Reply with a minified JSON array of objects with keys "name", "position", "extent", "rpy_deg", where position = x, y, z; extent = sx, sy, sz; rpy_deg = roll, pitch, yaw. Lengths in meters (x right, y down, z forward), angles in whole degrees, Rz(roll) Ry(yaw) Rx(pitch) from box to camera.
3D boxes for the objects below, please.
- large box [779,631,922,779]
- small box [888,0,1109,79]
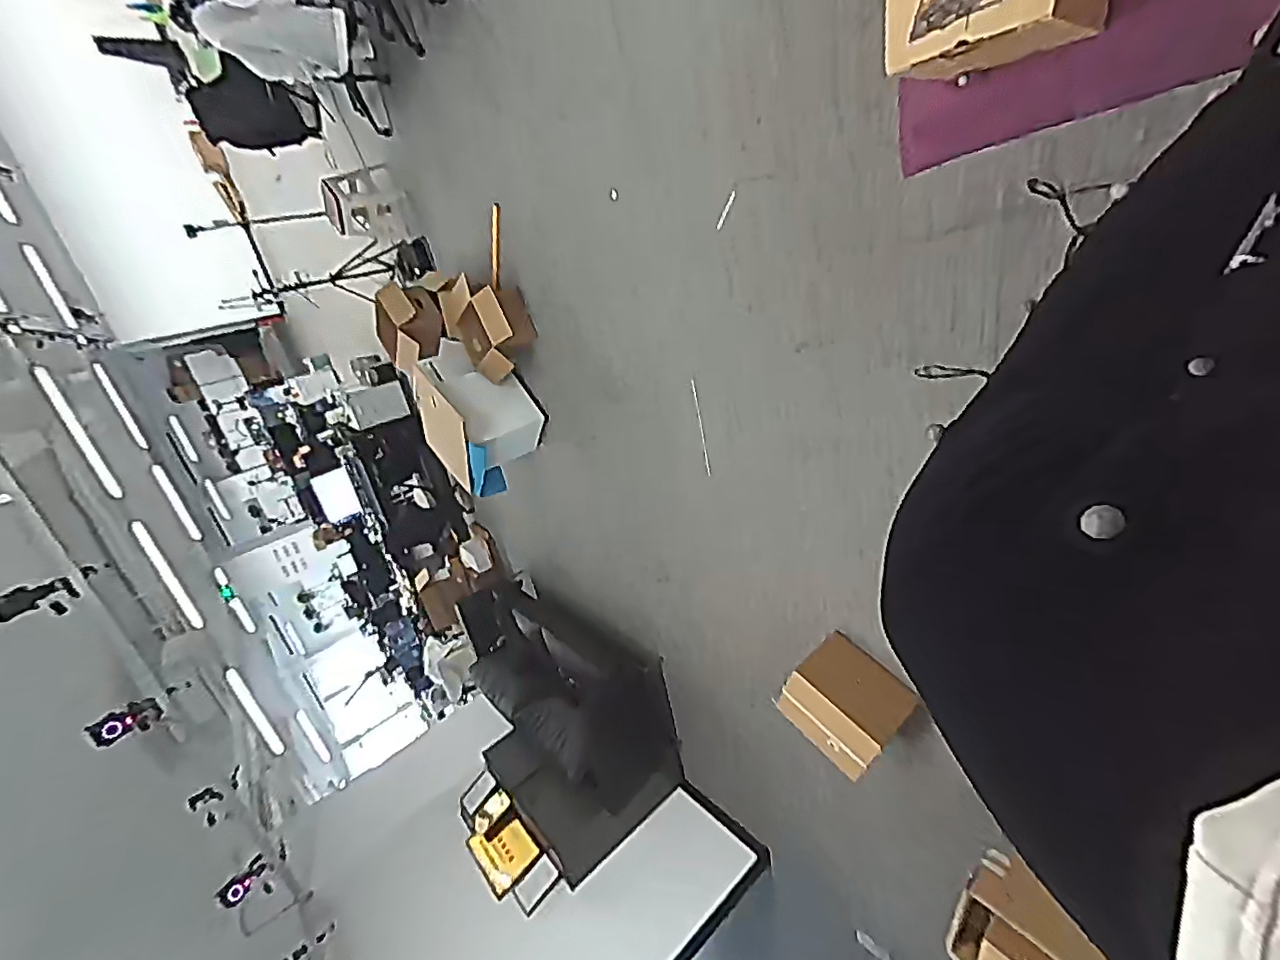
[{"name":"large box","position":[0.858,0.915,2.236],"extent":[0.408,0.320,0.320],"rpy_deg":[38,140,32]},{"name":"small box","position":[0.387,-0.557,0.577],"extent":[0.168,0.176,0.179],"rpy_deg":[18,125,48]}]
